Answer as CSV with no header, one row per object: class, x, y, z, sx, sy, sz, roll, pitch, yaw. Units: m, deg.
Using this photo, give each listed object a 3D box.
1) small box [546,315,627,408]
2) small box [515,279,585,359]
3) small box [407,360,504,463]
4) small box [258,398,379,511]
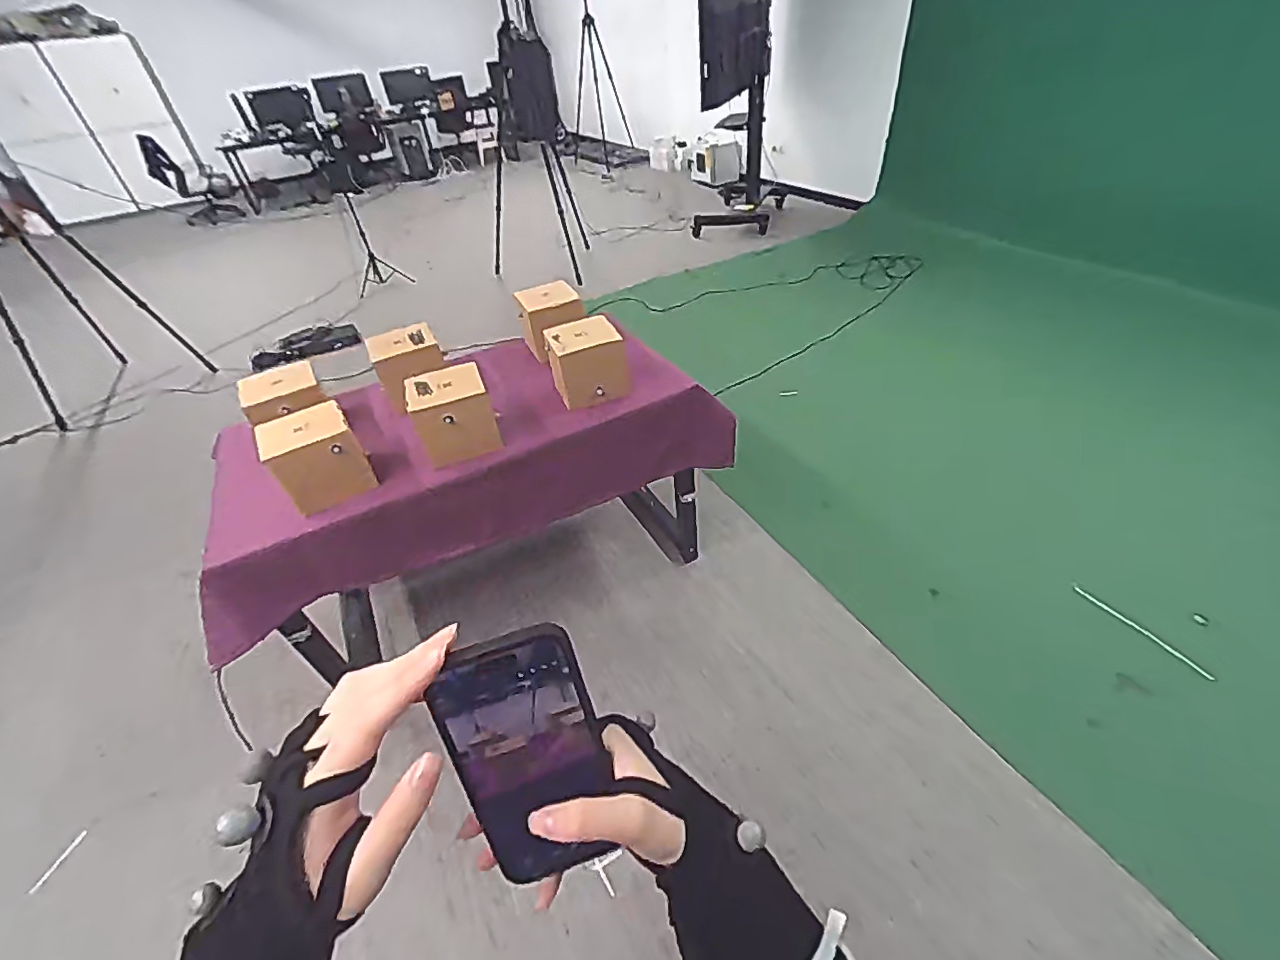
small box,-0.140,-0.319,1.455,0.179,0.176,0.168,-17,42,-13
small box,-0.271,-0.499,1.676,0.168,0.176,0.179,-21,44,-14
small box,-0.449,-0.165,1.320,0.179,0.176,0.168,-18,42,-14
small box,-0.732,-0.058,1.237,0.179,0.176,0.168,-26,44,-23
